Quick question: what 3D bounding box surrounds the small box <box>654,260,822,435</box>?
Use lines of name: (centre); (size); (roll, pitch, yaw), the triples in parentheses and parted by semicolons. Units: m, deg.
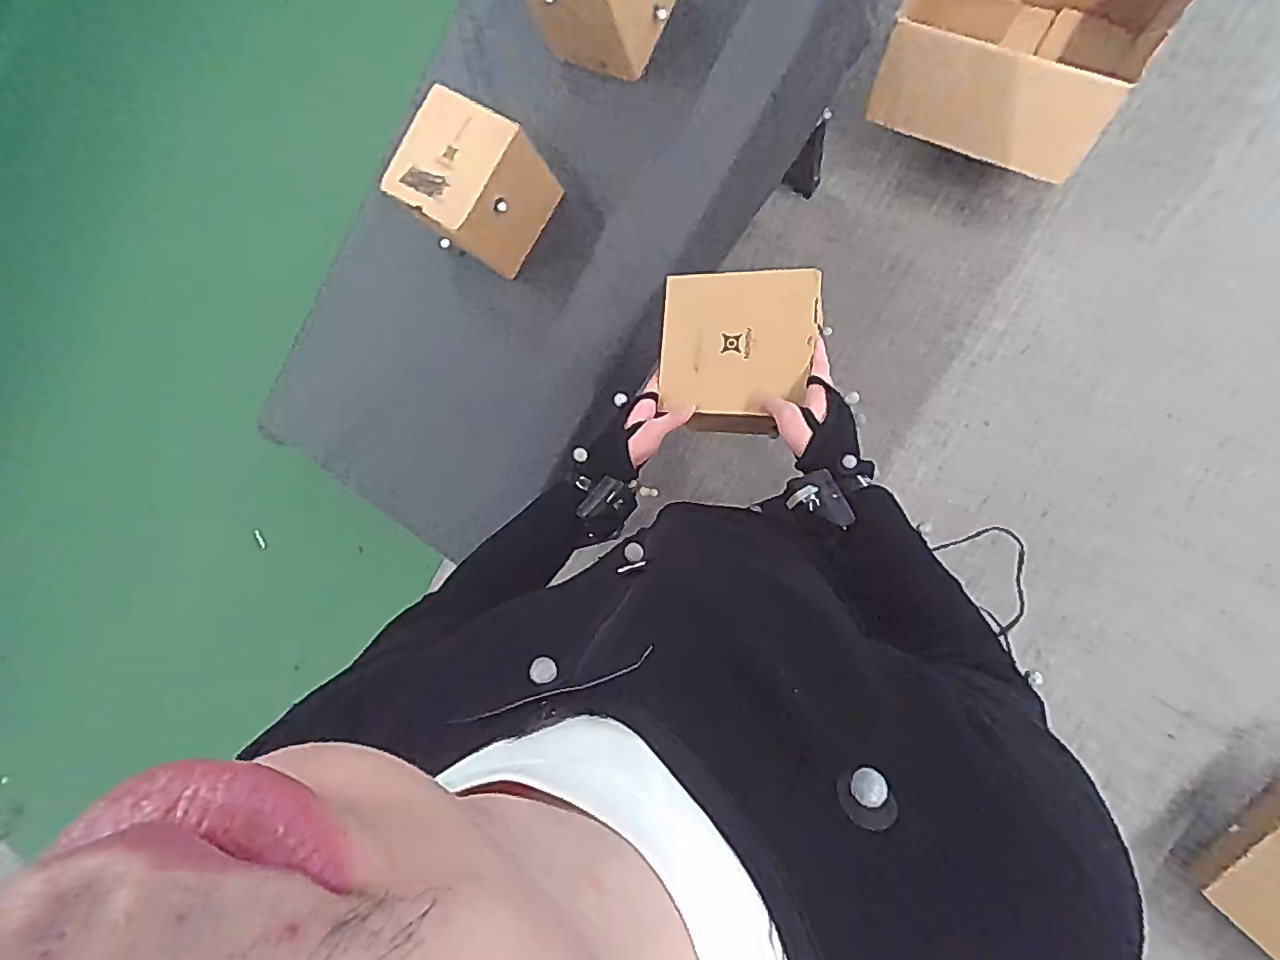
small box: (0.129, -0.150, 0.667); (0.179, 0.176, 0.168); (3, 87, 20)

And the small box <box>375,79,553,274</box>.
small box: (-0.265, -0.462, 0.854); (0.168, 0.176, 0.179); (37, 97, 11)

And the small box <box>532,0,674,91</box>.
small box: (-0.056, -0.762, 0.836); (0.168, 0.176, 0.179); (25, 94, 12)
